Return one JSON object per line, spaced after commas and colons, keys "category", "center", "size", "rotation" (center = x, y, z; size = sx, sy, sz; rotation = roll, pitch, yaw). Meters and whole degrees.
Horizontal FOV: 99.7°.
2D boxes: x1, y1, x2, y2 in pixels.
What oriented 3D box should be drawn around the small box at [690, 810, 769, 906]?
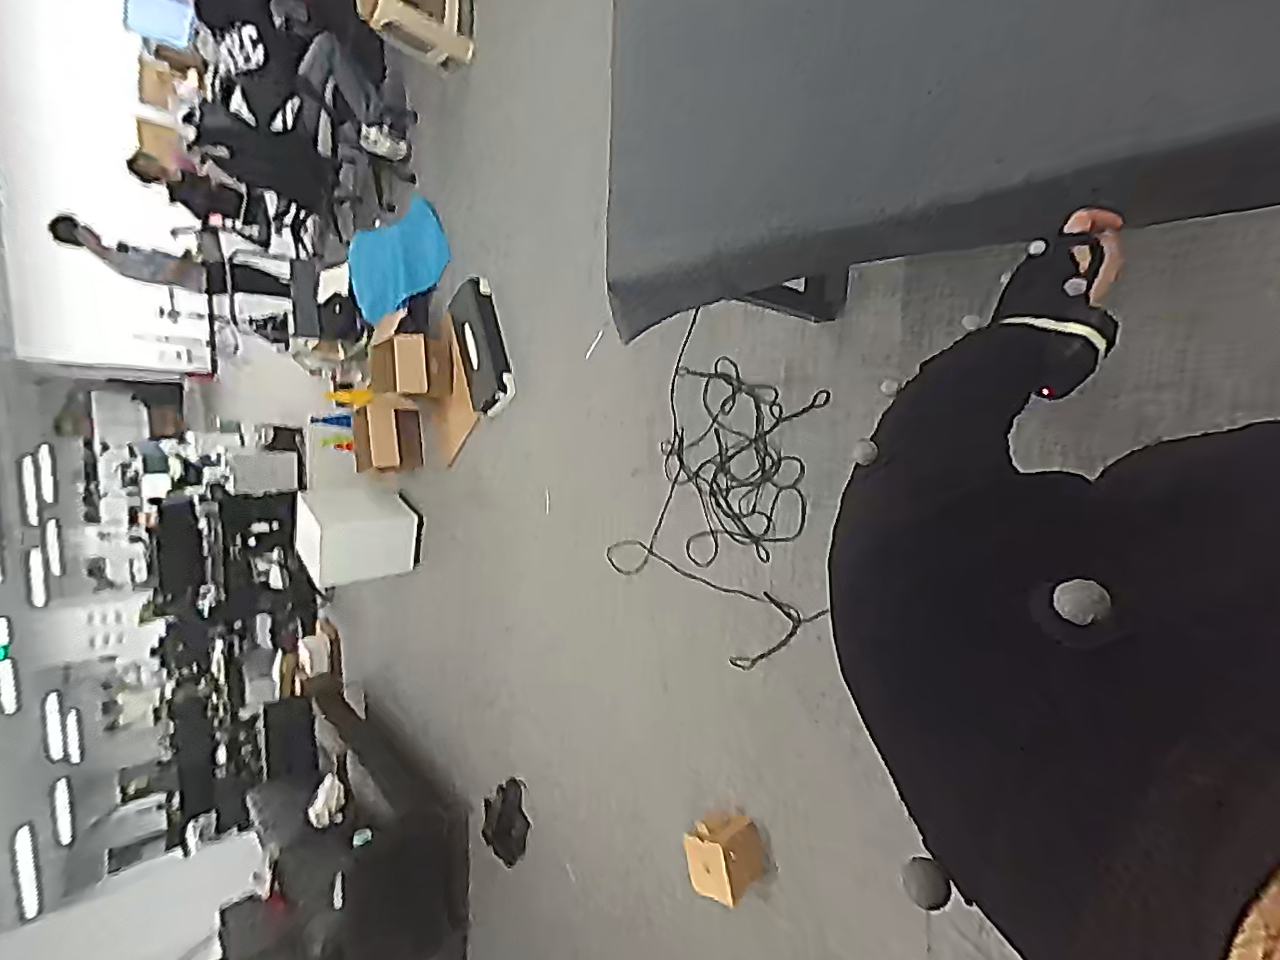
{"category": "small box", "center": [0.288, 1.195, 1.724], "size": [0.168, 0.176, 0.179], "rotation": [-20, 78, 46]}
